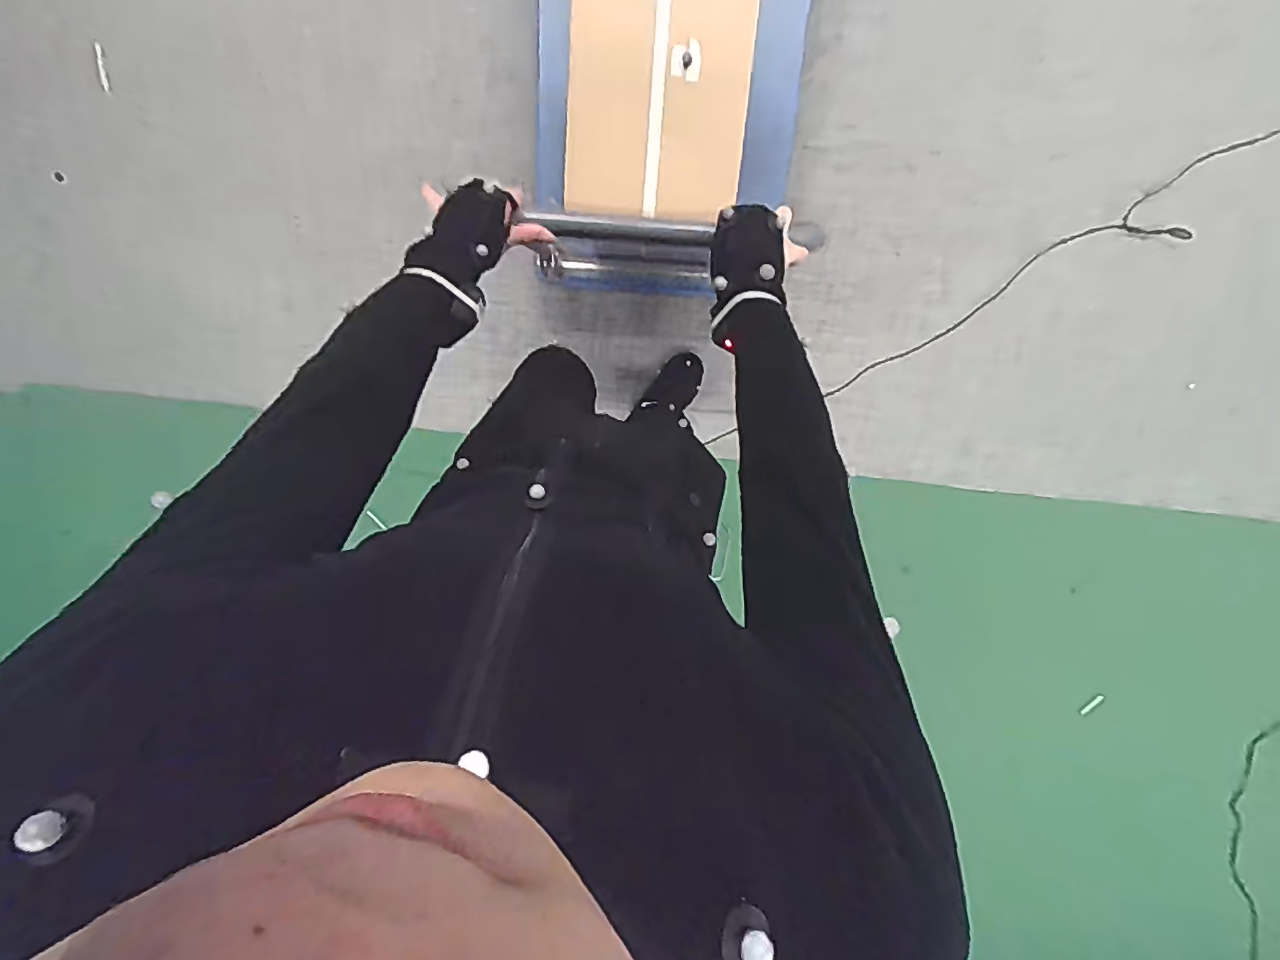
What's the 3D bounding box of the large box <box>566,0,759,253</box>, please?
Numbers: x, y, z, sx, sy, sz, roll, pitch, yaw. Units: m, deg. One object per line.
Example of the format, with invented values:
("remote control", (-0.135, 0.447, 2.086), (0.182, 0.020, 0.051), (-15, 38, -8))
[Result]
("large box", (0.044, -0.688, 1.072), (0.320, 0.320, 0.408), (6, 107, 3))
